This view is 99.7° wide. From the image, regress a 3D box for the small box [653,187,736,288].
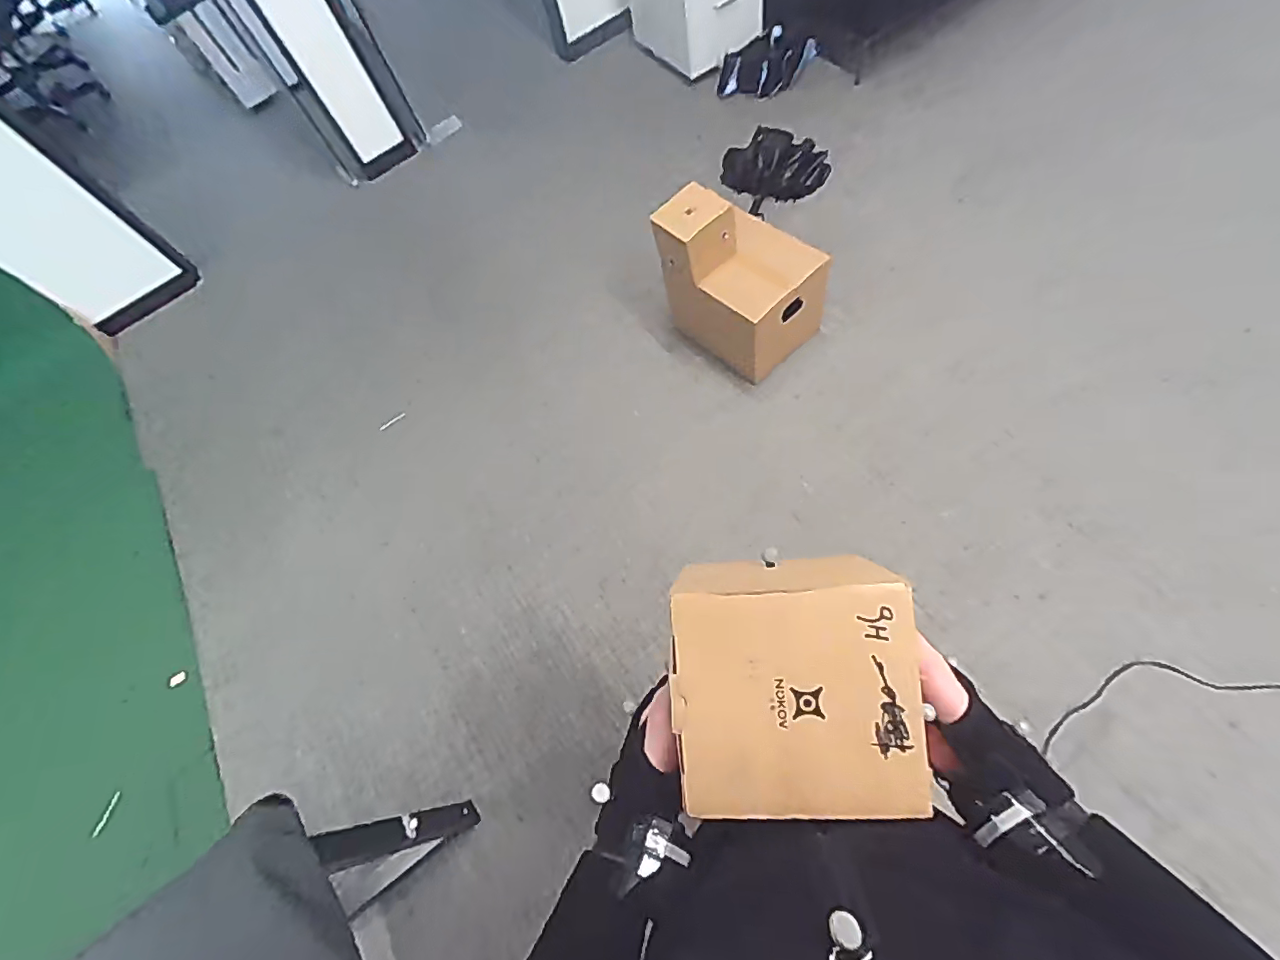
[{"bbox_3d":[0.165,-0.705,1.581,0.179,0.176,0.168,-42,62,-5],"label":"small box"}]
